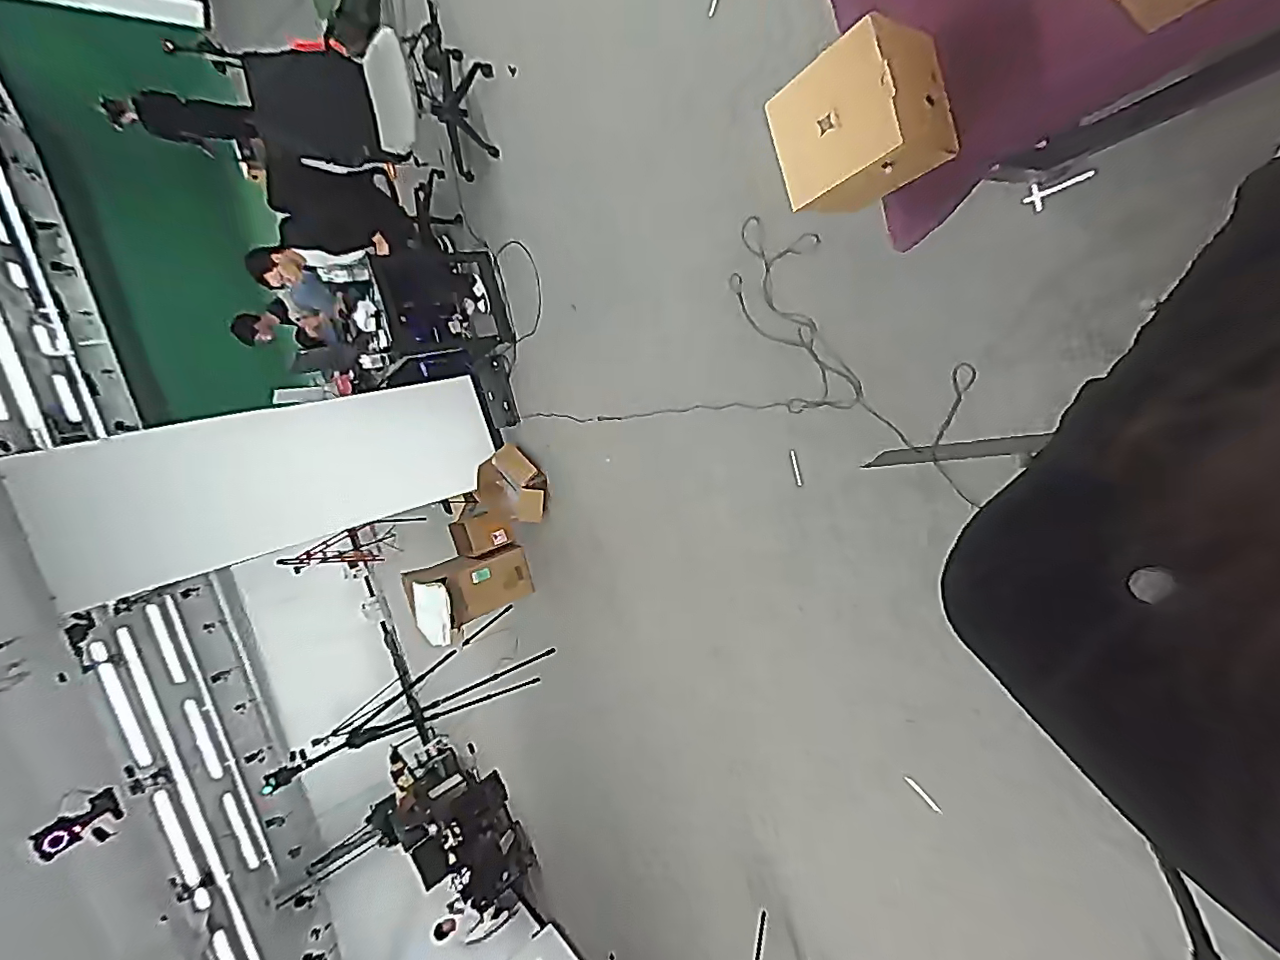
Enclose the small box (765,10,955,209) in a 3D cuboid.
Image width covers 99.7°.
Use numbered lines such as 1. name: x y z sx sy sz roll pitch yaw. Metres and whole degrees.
1. small box: 0.319 -0.514 0.786 0.179 0.176 0.168 -12 97 53
